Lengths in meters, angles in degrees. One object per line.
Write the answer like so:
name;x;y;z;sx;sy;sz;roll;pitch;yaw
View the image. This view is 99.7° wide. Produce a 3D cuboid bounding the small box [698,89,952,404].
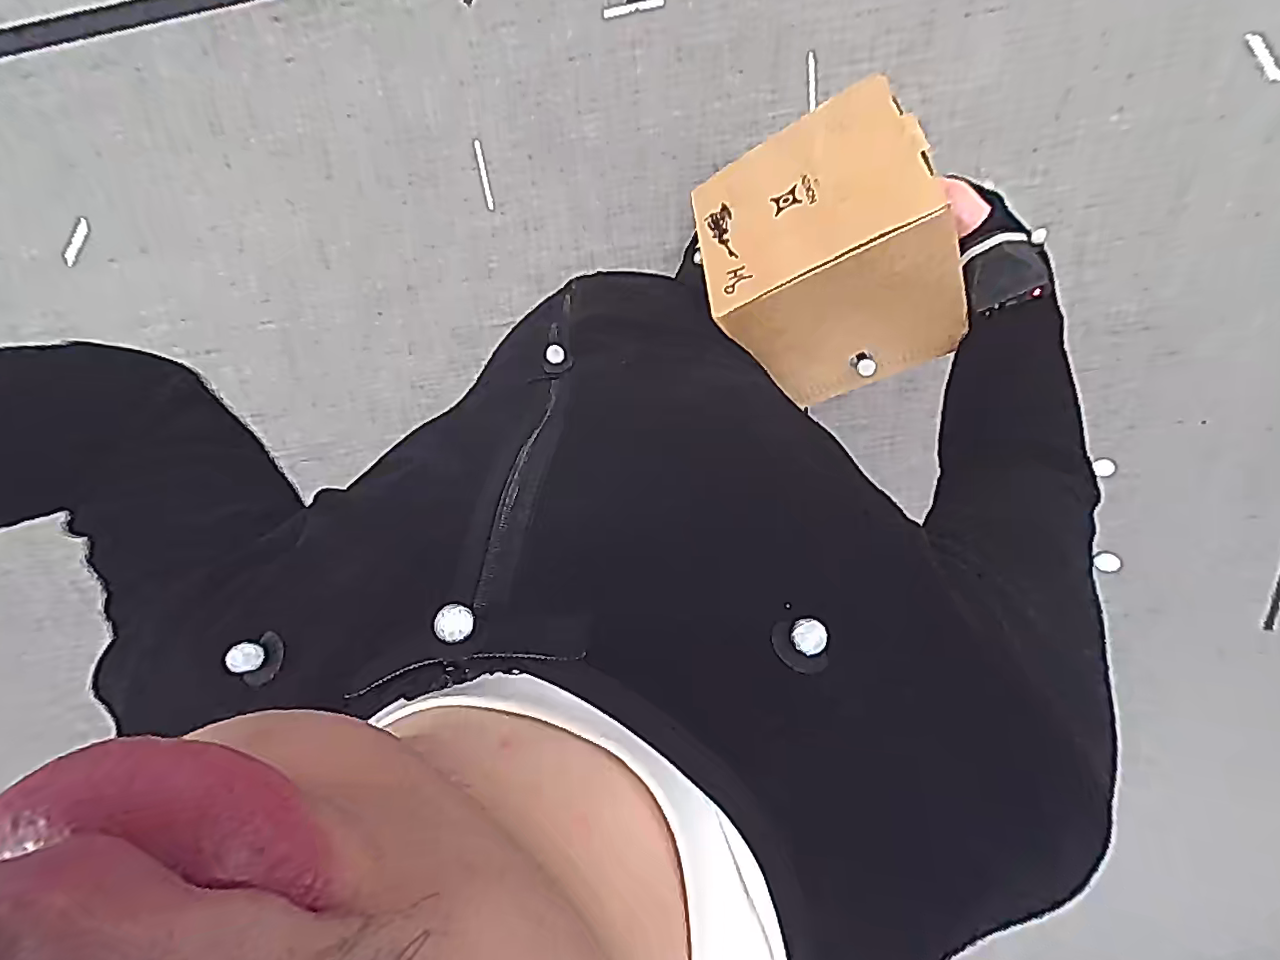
small box;0.176;-0.200;0.510;0.179;0.168;0.176;-20;147;27
